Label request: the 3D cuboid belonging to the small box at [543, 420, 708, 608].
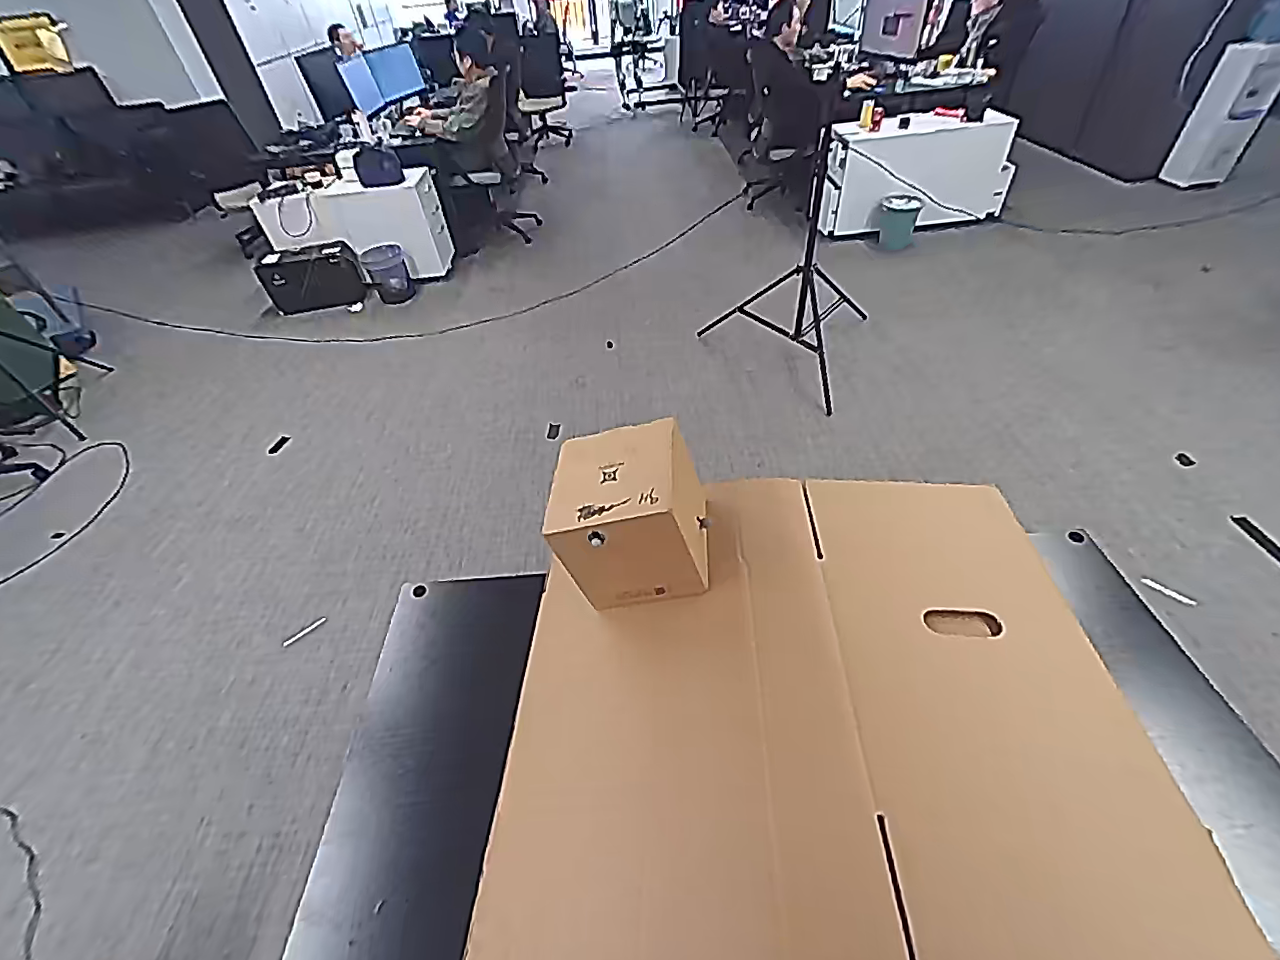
[{"bbox_3d":[-0.008,0.049,0.736,0.168,0.176,0.179,-12,41,16],"label":"small box"}]
